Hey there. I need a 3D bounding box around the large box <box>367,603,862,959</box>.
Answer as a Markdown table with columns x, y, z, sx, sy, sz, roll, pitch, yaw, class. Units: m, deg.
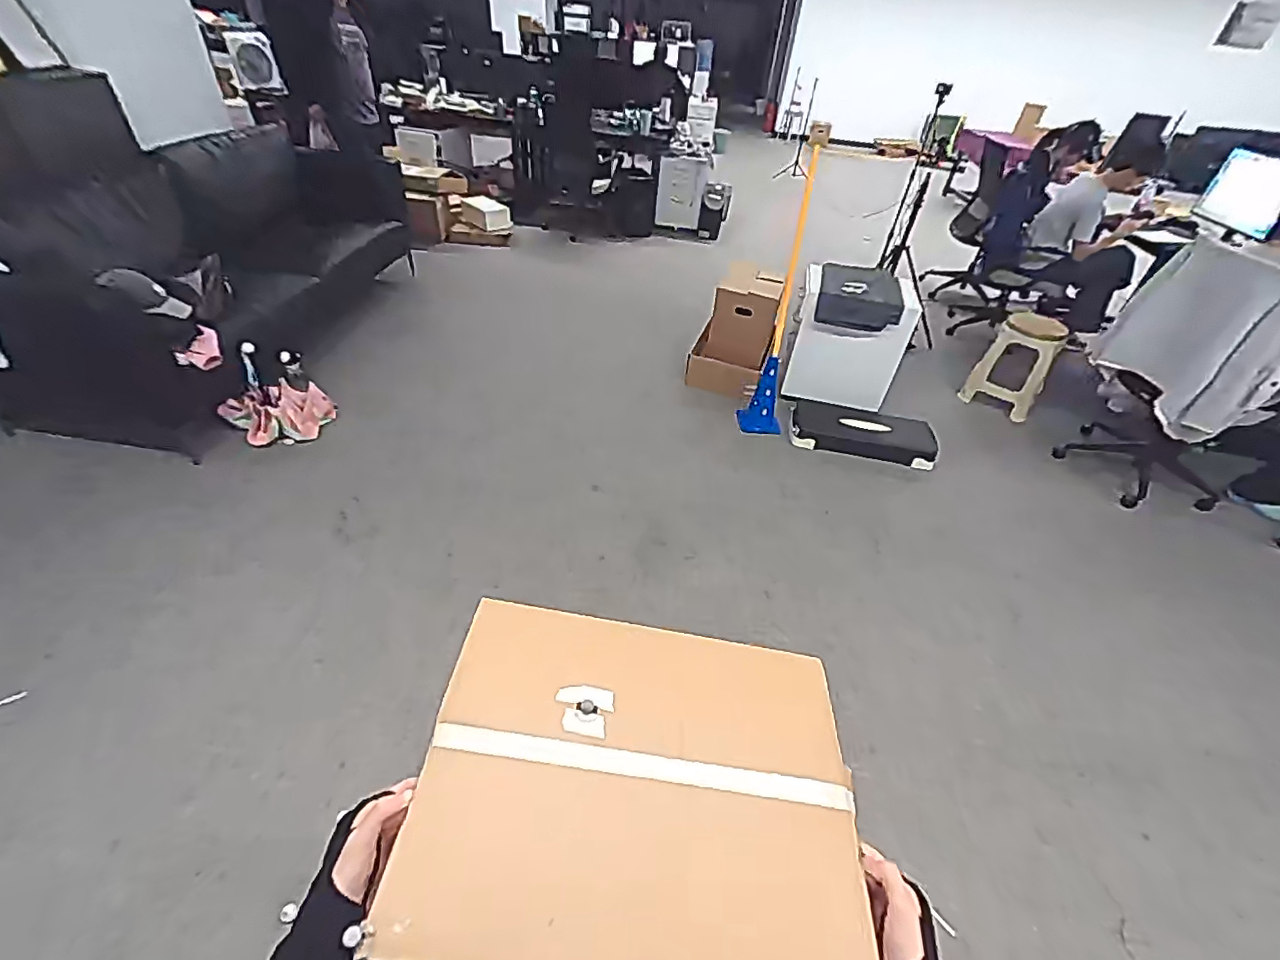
| x | y | z | sx | sy | sz | roll | pitch | yaw | class |
| --- | --- | --- | --- | --- | --- | --- | --- | --- | --- |
| -0.024 | 0.383 | 0.628 | 0.408 | 0.320 | 0.320 | 10 | 42 | -3 | large box |
